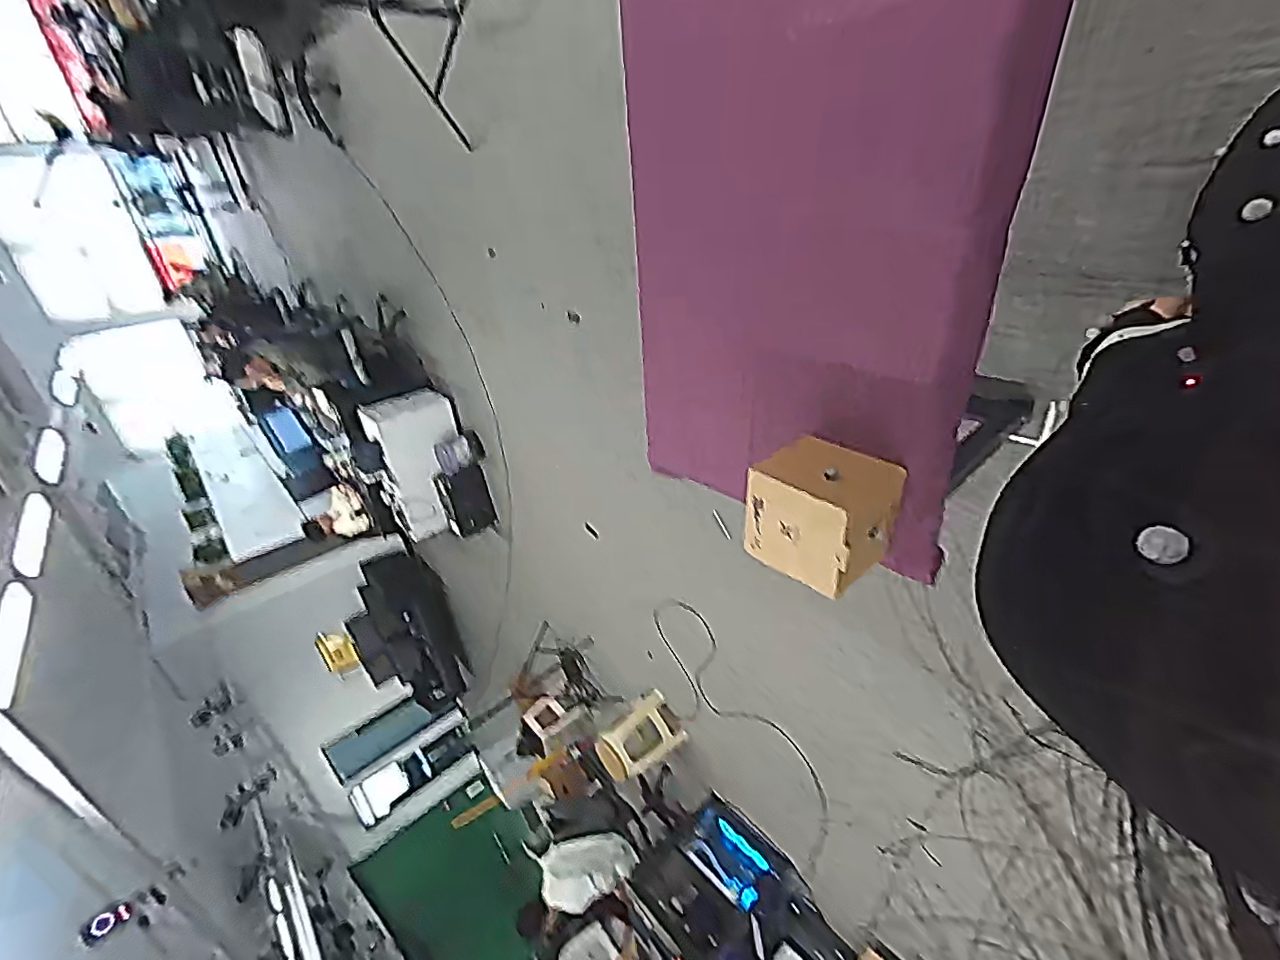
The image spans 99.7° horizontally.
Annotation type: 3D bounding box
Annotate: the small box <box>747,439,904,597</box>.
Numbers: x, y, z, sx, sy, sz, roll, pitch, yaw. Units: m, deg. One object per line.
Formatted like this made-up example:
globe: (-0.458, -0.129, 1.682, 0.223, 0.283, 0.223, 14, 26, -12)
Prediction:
small box: (0.297, 0.049, 0.877, 0.179, 0.176, 0.168, 27, 132, 41)
